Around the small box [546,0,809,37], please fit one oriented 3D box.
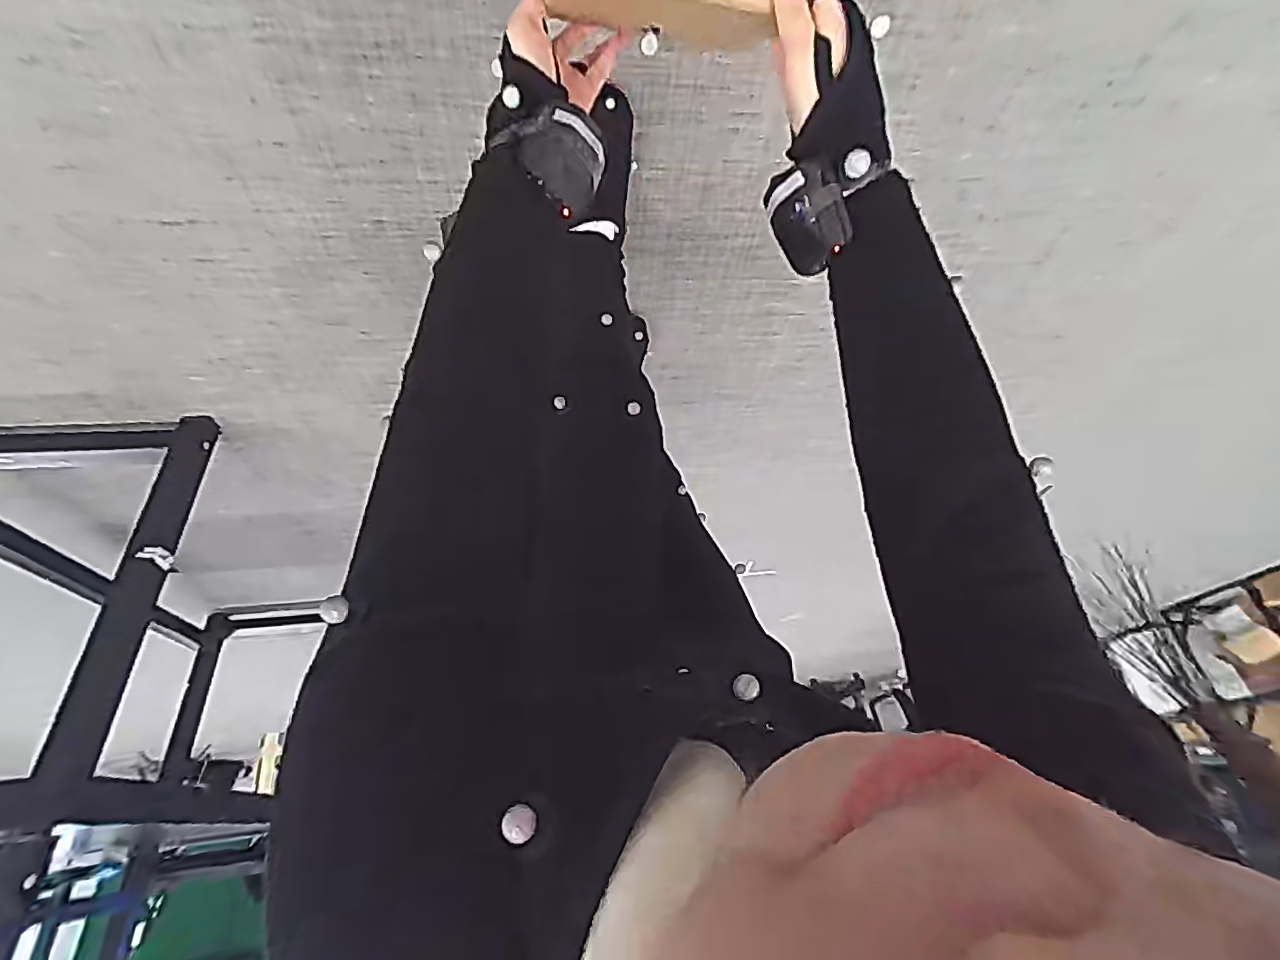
[{"bbox_3d":[0.023,-0.418,0.357,0.179,0.176,0.168,2,121,-12],"label":"small box"}]
